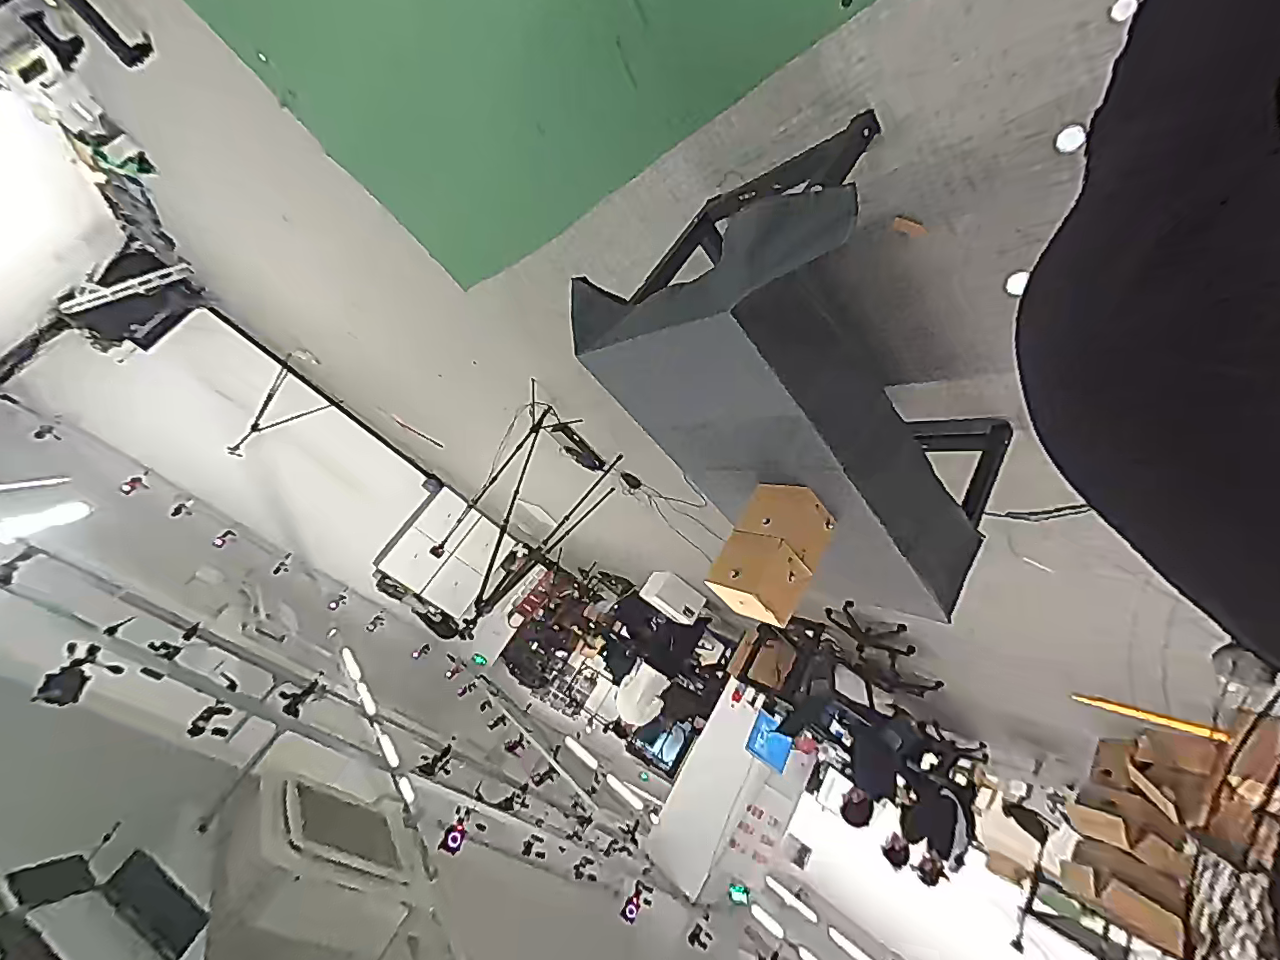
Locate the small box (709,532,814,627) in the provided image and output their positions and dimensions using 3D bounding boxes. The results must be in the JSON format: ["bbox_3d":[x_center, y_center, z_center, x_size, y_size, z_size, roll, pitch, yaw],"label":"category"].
[{"bbox_3d":[0.323,0.254,1.423,0.168,0.176,0.179,45,157,-28],"label":"small box"}]

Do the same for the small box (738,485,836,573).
[{"bbox_3d":[0.409,0.129,1.479,0.168,0.176,0.179,45,159,-28],"label":"small box"}]
